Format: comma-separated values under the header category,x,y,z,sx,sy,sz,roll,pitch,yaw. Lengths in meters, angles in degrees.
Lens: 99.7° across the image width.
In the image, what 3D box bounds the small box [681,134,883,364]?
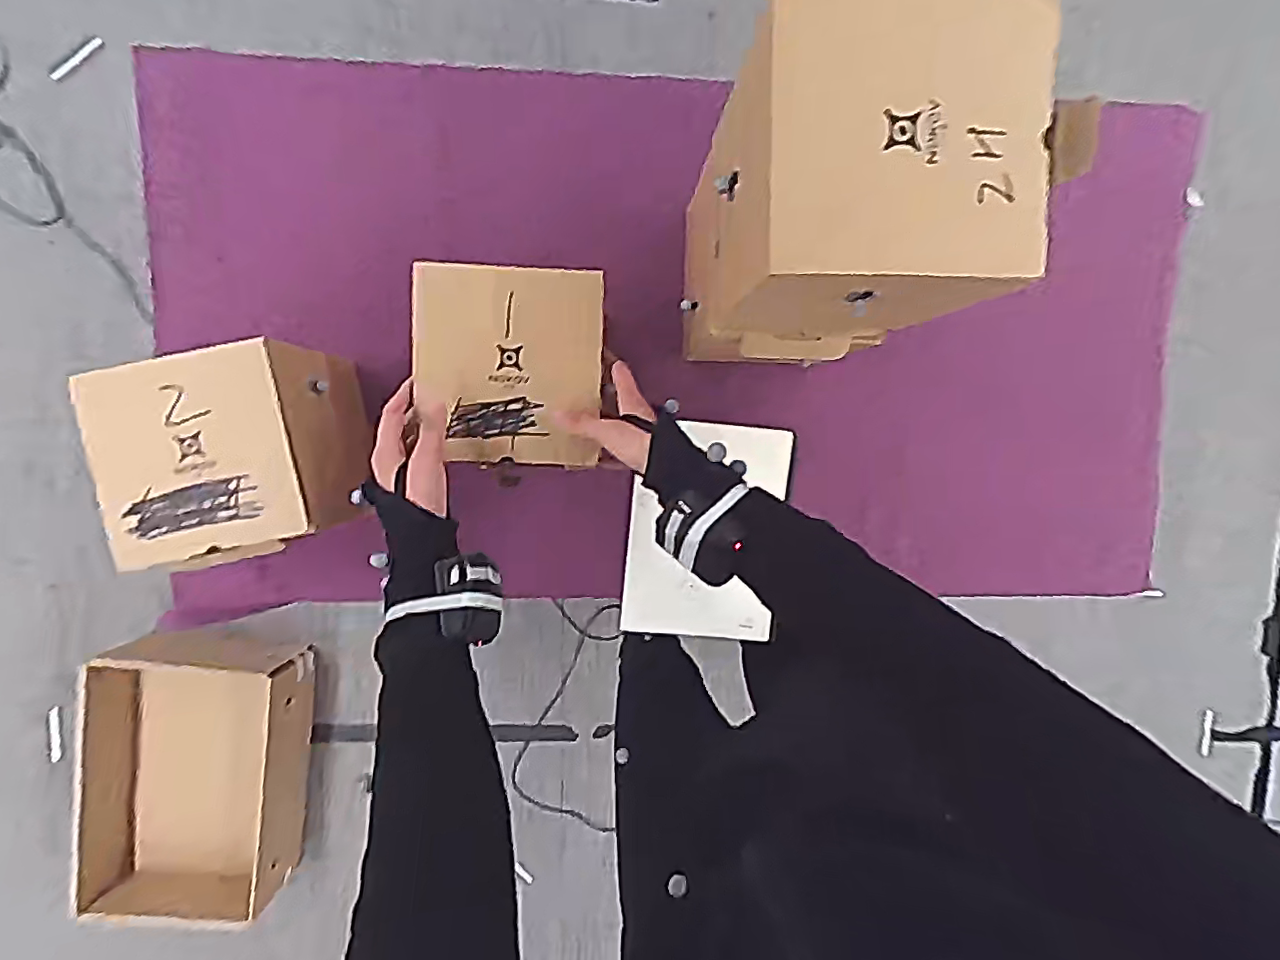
category,x,y,z,sx,sy,sz,roll,pitch,yaw
small box,0.137,-0.217,0.557,0.168,0.176,0.179,1,95,-5

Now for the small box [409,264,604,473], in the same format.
category,x,y,z,sx,sy,sz,roll,pitch,yaw
small box,-0.122,-0.101,0.549,0.168,0.176,0.179,1,94,-5

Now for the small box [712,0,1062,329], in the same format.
category,x,y,z,sx,sy,sz,roll,pitch,yaw
small box,0.152,-0.208,0.393,0.179,0.176,0.168,-1,95,-5
